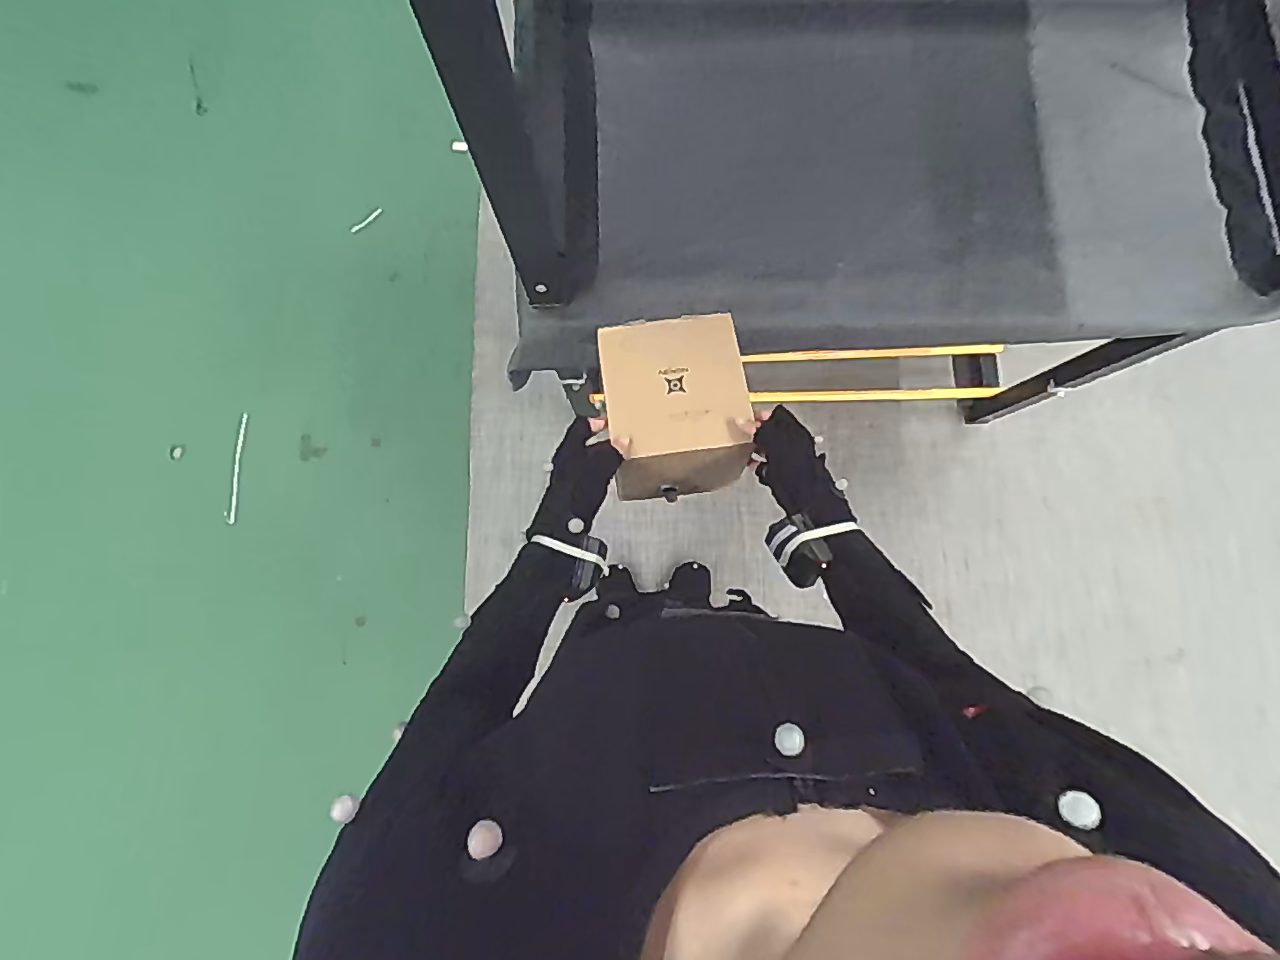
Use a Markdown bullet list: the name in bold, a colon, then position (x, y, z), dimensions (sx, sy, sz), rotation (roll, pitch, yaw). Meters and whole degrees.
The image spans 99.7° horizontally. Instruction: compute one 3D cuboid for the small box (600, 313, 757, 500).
- **small box**: position (0.040, -0.088, 0.704), dimensions (0.168, 0.176, 0.179), rotation (-7, 71, -2)
